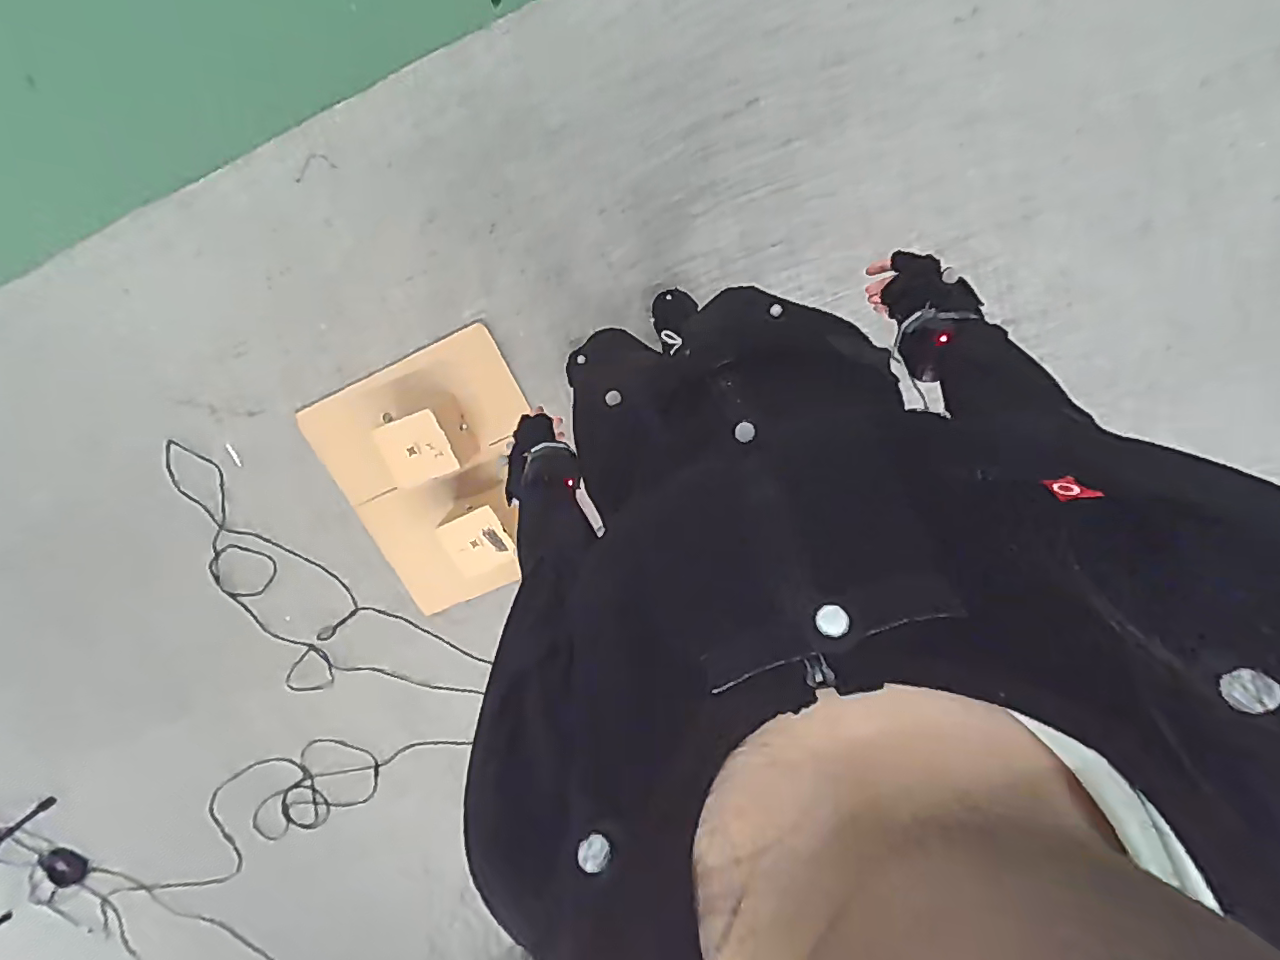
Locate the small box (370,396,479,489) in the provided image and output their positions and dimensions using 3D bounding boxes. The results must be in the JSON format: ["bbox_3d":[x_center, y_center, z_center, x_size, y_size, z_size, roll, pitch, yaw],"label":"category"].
[{"bbox_3d":[-0.547,-0.101,1.395,0.179,0.176,0.168,-19,109,7],"label":"small box"}]

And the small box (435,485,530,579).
[{"bbox_3d":[-0.416,0.135,1.471,0.179,0.176,0.168,-25,107,10],"label":"small box"}]
